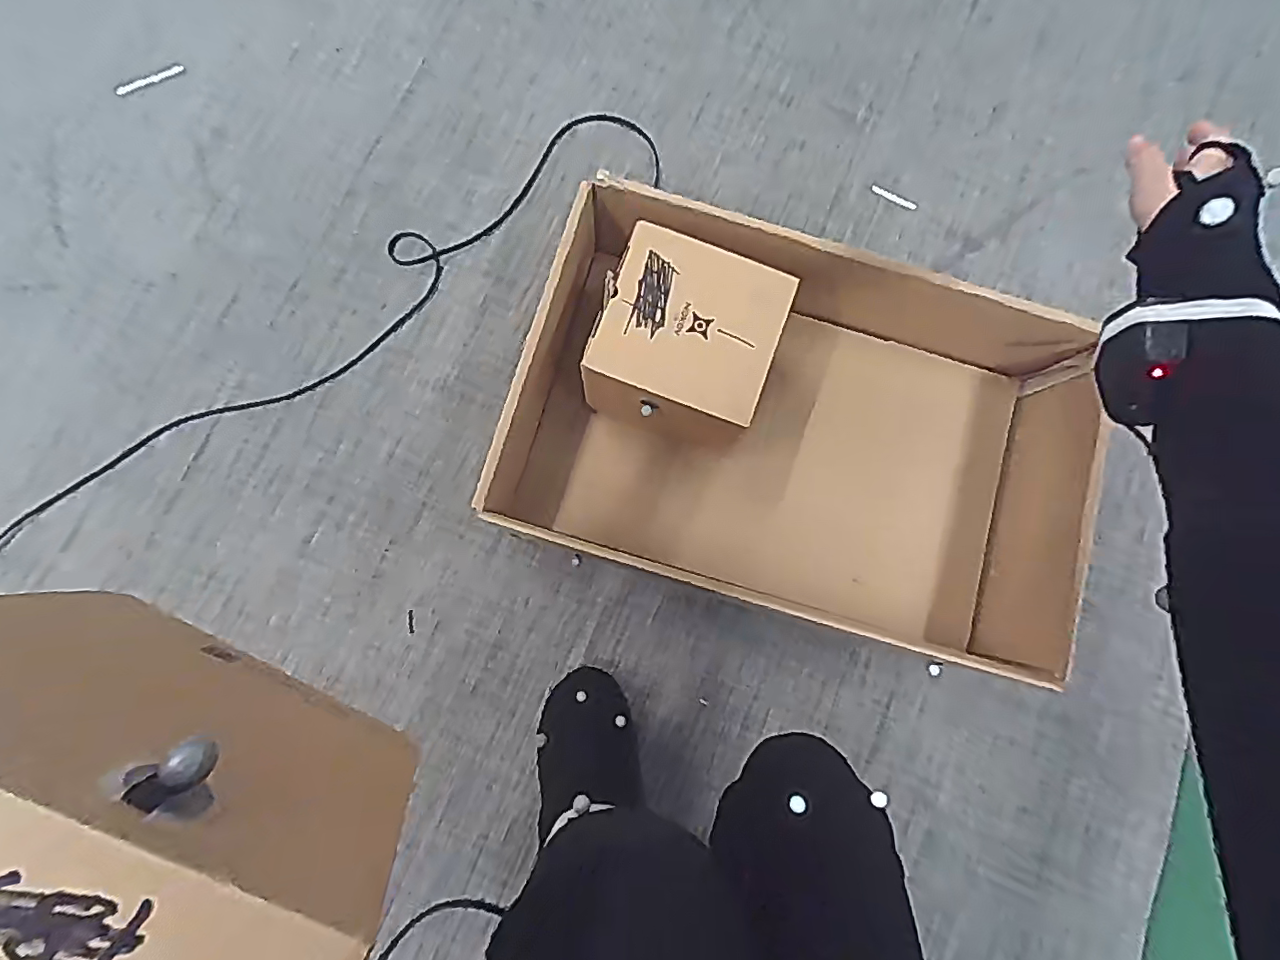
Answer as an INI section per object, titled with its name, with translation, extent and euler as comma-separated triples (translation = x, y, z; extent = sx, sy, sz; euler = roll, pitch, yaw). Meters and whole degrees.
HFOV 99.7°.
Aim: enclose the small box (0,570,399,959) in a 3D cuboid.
[small box]
translation = -0.196, 0.142, 0.163
extent = 0.168, 0.176, 0.179
euler = 35, 72, -11
